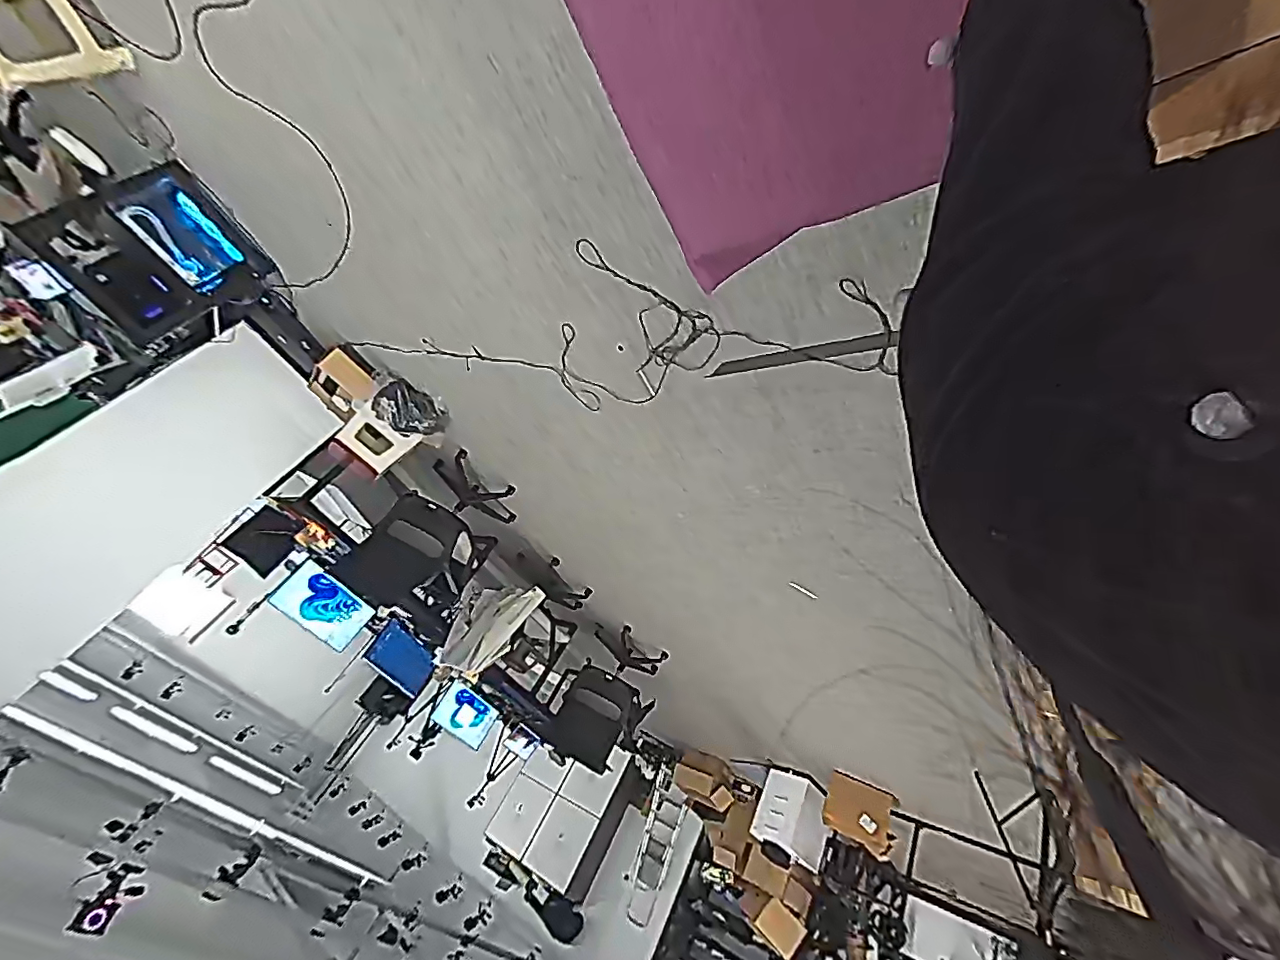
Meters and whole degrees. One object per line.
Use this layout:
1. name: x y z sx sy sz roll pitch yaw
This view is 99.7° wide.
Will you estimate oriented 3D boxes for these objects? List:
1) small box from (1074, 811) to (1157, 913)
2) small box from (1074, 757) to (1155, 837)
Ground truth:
1. small box: 1.376 1.104 1.570 0.168 0.176 0.179 3 138 38
2. small box: 1.444 0.978 1.652 0.179 0.176 0.168 1 137 39
